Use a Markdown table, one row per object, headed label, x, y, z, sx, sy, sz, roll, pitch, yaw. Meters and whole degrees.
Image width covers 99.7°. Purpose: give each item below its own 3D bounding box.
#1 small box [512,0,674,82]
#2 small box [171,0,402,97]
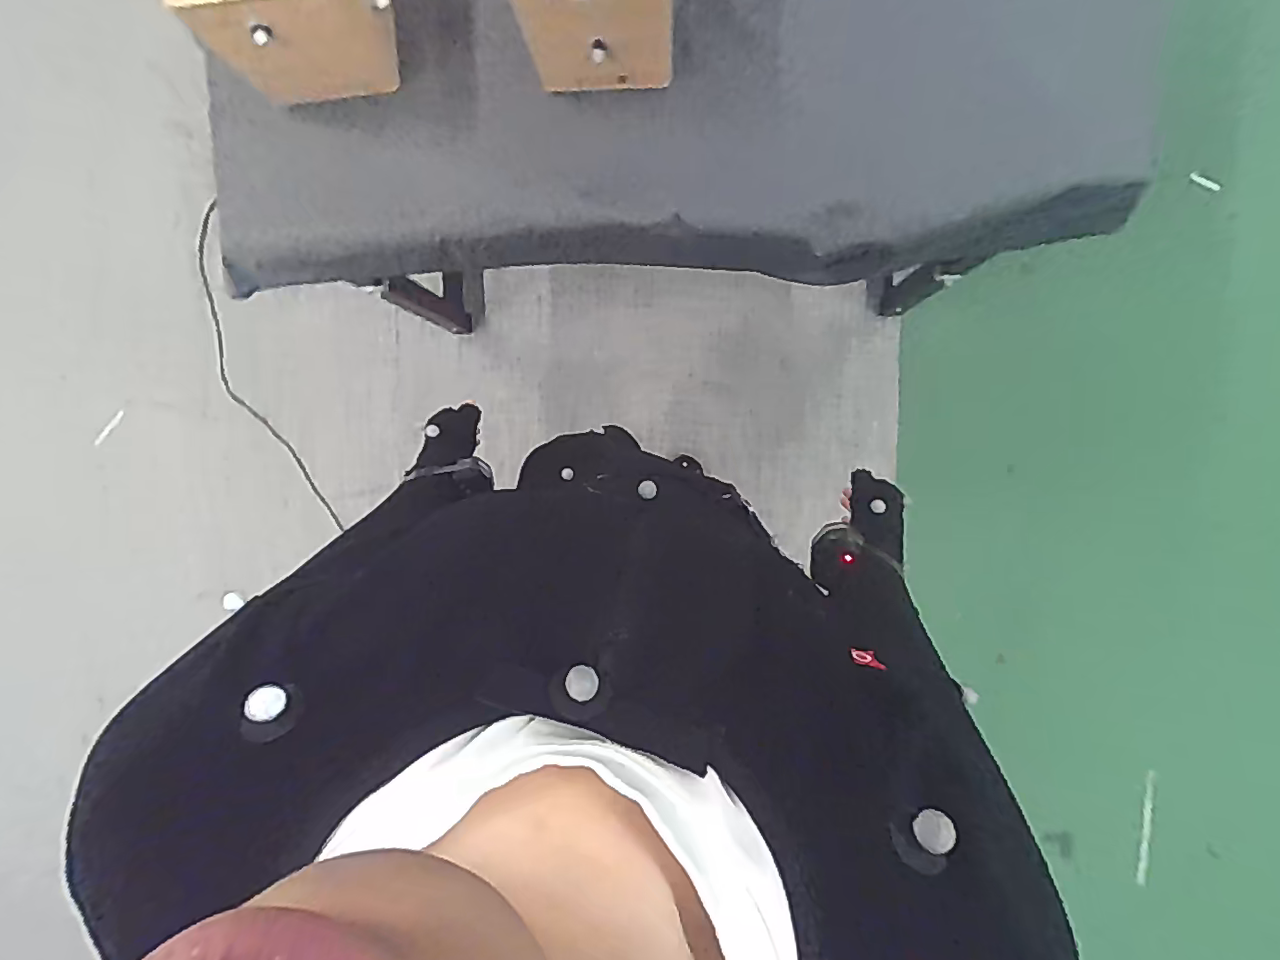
| label | x | y | z | sx | sy | sz | roll | pitch | yaw |
| --- | --- | --- | --- | --- | --- | --- | --- | --- | --- |
| small box | -0.046 | -0.592 | 0.619 | 0.168 | 0.176 | 0.179 | 1 | 94 | 5 |
| small box | -0.415 | -0.597 | 0.649 | 0.179 | 0.176 | 0.168 | -4 | 94 | 4 |
